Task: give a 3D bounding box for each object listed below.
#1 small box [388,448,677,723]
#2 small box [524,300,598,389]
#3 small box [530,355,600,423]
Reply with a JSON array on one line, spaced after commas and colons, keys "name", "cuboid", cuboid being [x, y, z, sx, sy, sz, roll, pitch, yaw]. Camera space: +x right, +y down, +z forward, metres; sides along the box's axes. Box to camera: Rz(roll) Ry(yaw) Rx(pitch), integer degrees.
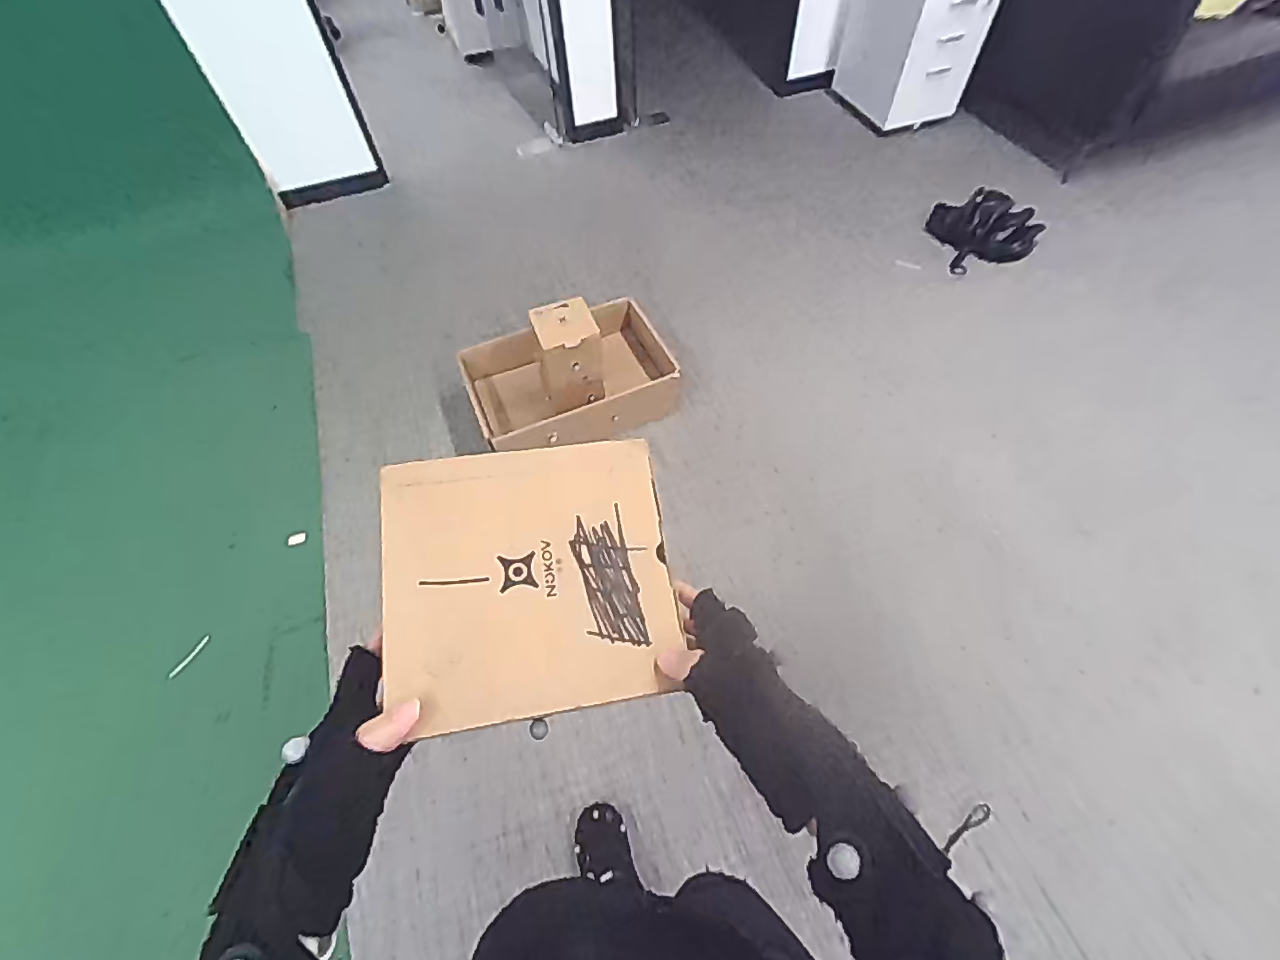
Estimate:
[{"name": "small box", "cuboid": [-0.084, 0.086, 0.427, 0.179, 0.176, 0.168, -5, 69, -11]}, {"name": "small box", "cuboid": [-0.225, -0.387, 1.574, 0.168, 0.176, 0.179, -18, 59, -11]}, {"name": "small box", "cuboid": [-0.234, -0.301, 1.713, 0.168, 0.176, 0.179, -20, 57, -13]}]
